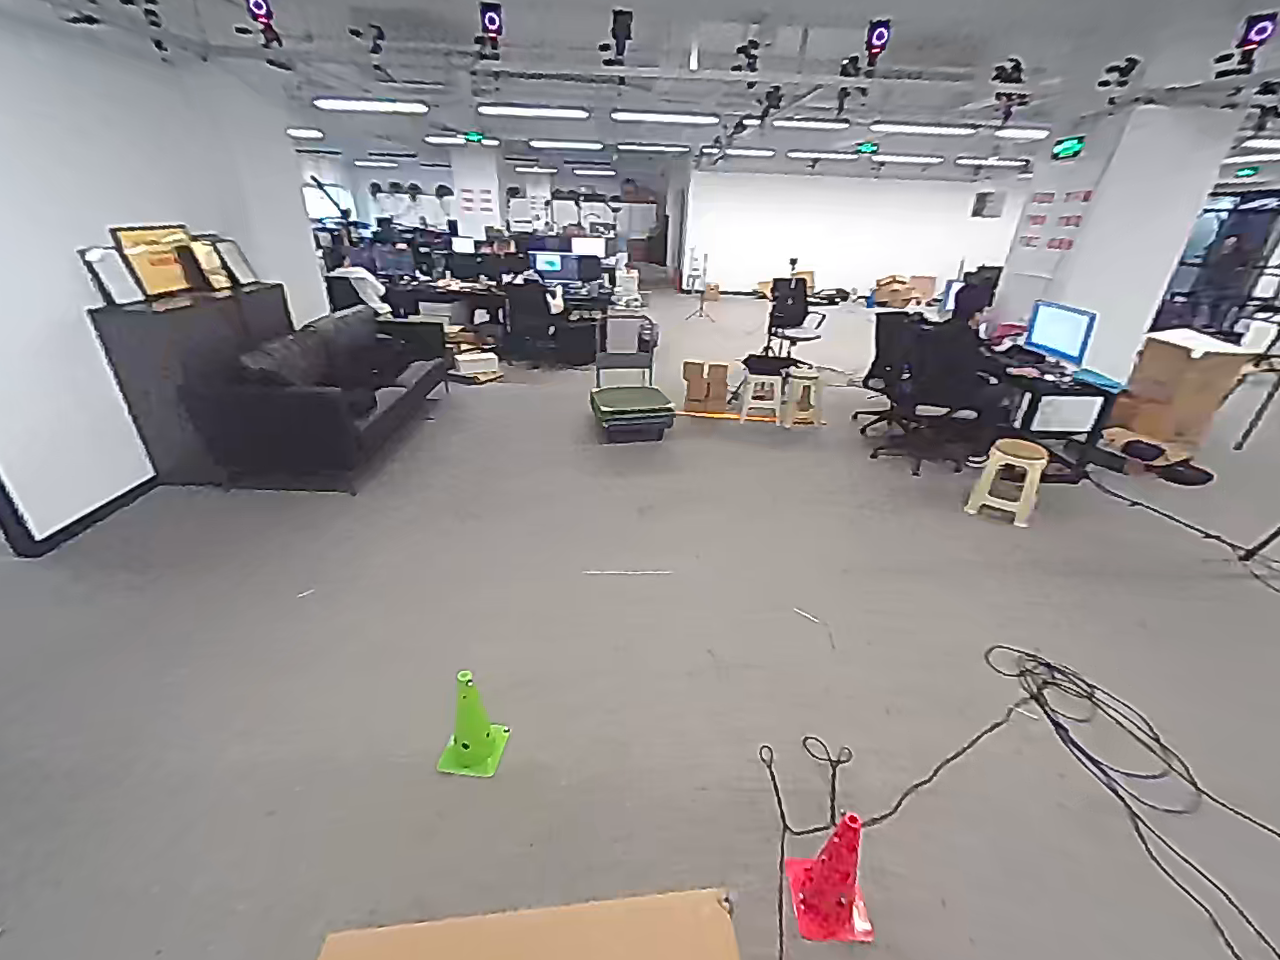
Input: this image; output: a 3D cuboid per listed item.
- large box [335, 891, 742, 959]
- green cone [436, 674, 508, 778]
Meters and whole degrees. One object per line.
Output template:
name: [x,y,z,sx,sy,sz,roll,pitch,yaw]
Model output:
large box: [-0.090,0.660,0.515,0.408,0.320,0.320,-2,35,-6]
green cone: [-0.578,0.788,1.807,0.200,0.368,0.202,4,28,4]
